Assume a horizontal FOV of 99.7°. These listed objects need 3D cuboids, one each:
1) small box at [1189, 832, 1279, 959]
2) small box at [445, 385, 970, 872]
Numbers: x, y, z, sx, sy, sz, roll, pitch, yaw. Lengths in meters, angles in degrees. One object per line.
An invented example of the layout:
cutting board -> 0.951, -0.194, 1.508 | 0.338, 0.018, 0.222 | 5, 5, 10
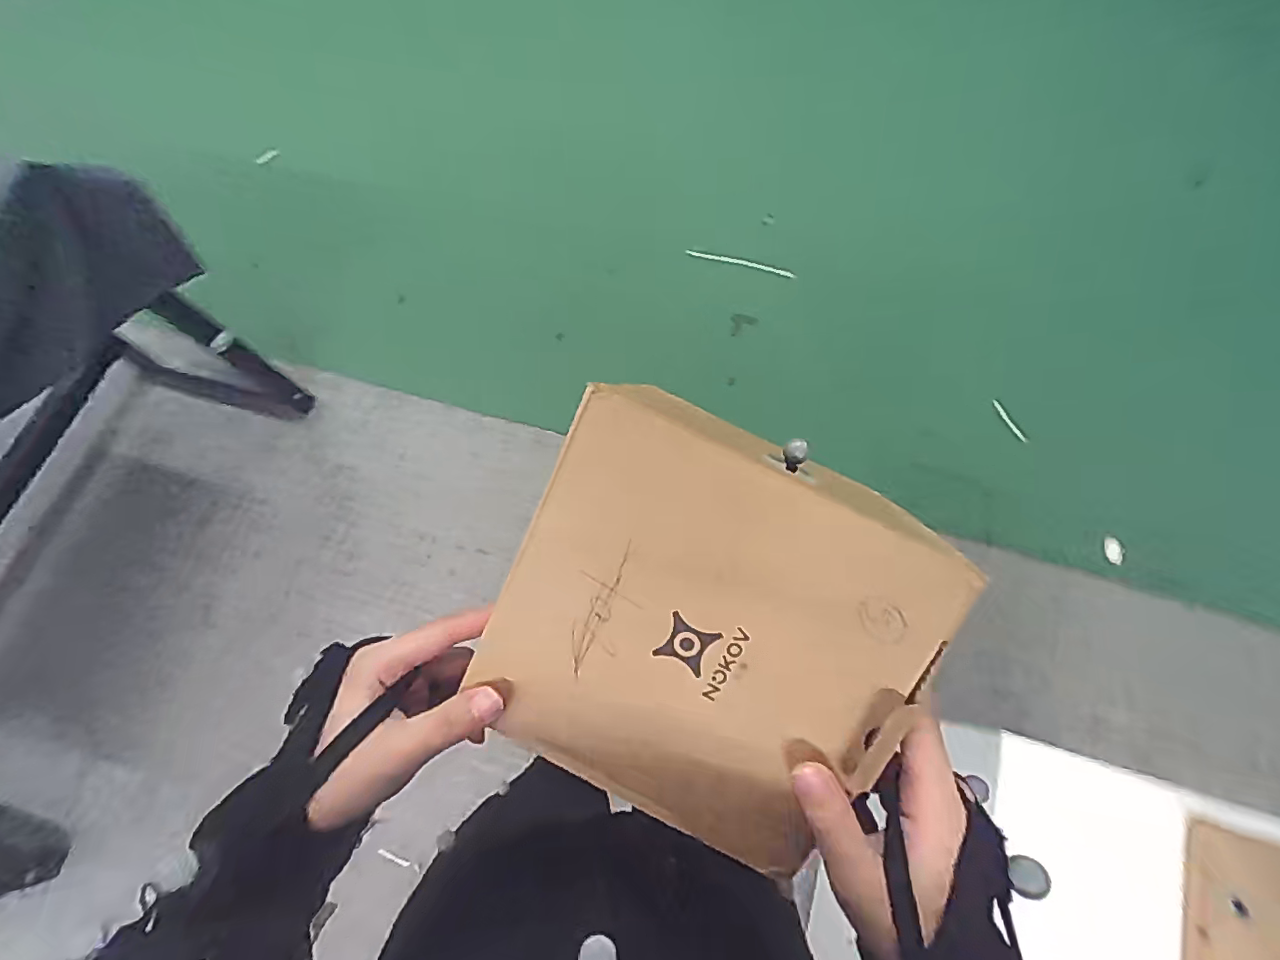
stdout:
small box -> 0.636, 0.434, 0.458 | 0.179, 0.176, 0.168 | 16, 73, 9
small box -> 0.030, 0.055, 0.306 | 0.179, 0.176, 0.168 | 24, 100, 5
